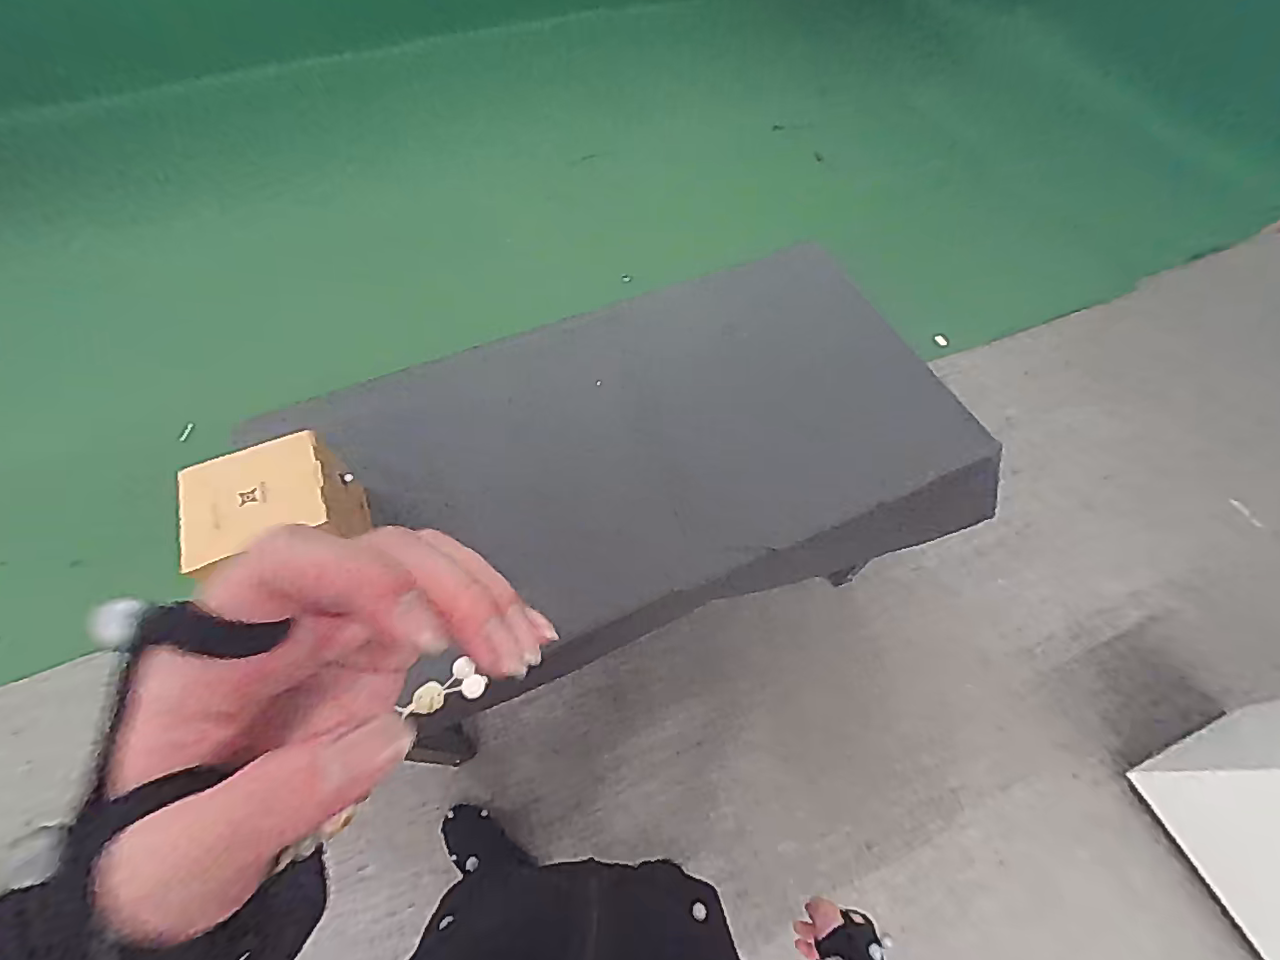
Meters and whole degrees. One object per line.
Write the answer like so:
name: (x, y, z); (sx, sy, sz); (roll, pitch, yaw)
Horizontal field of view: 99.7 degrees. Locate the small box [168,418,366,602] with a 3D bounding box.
small box: (-0.508, 0.047, 0.760); (0.179, 0.176, 0.168); (-21, 61, -13)
